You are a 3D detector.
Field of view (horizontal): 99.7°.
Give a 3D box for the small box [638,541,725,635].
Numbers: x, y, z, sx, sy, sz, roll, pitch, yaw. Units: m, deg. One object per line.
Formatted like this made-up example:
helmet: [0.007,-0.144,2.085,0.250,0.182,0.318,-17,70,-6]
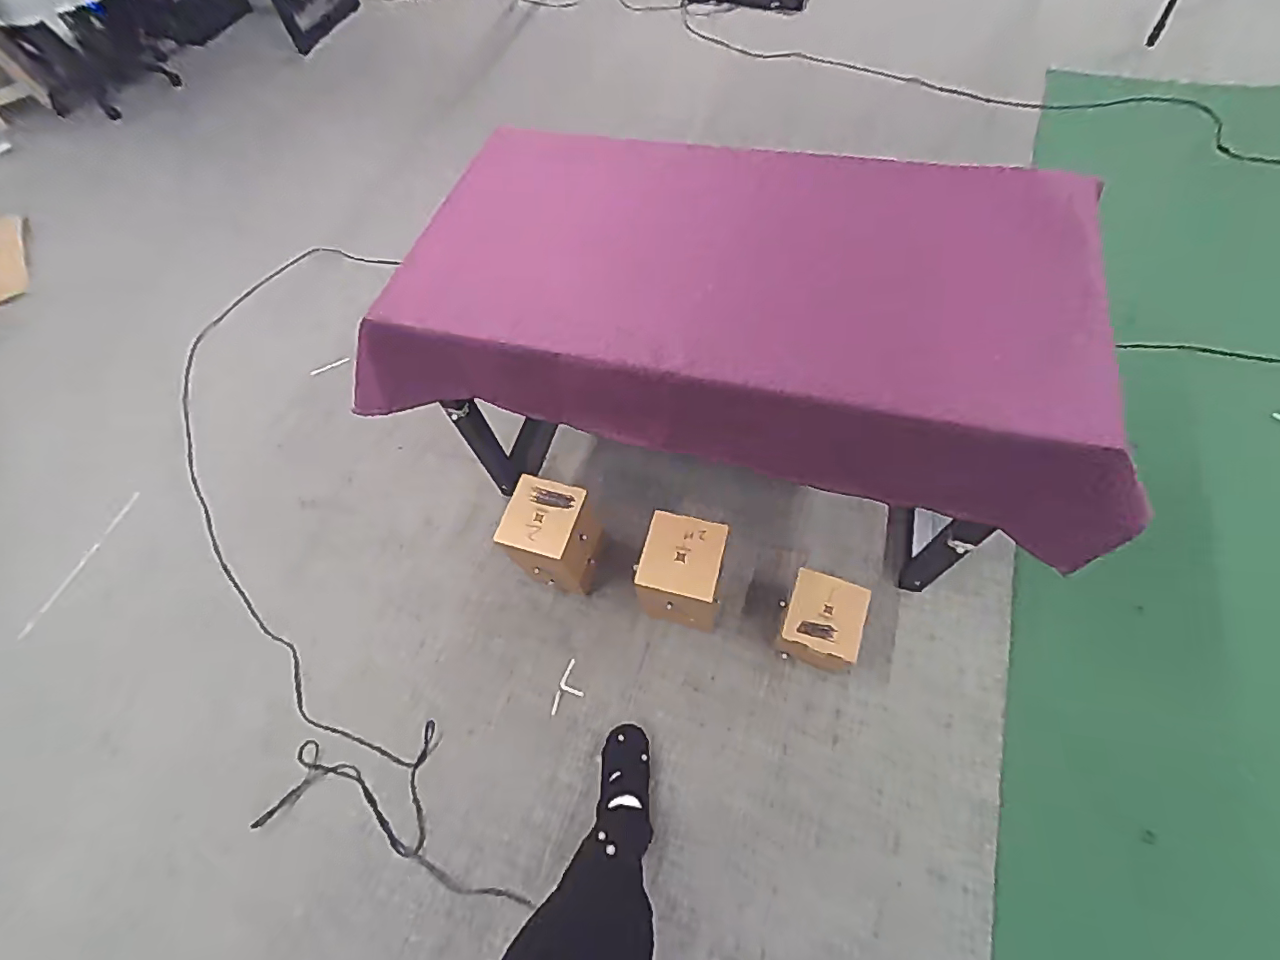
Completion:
small box: [0.108,0.276,1.362,0.179,0.176,0.168,13,64,13]
